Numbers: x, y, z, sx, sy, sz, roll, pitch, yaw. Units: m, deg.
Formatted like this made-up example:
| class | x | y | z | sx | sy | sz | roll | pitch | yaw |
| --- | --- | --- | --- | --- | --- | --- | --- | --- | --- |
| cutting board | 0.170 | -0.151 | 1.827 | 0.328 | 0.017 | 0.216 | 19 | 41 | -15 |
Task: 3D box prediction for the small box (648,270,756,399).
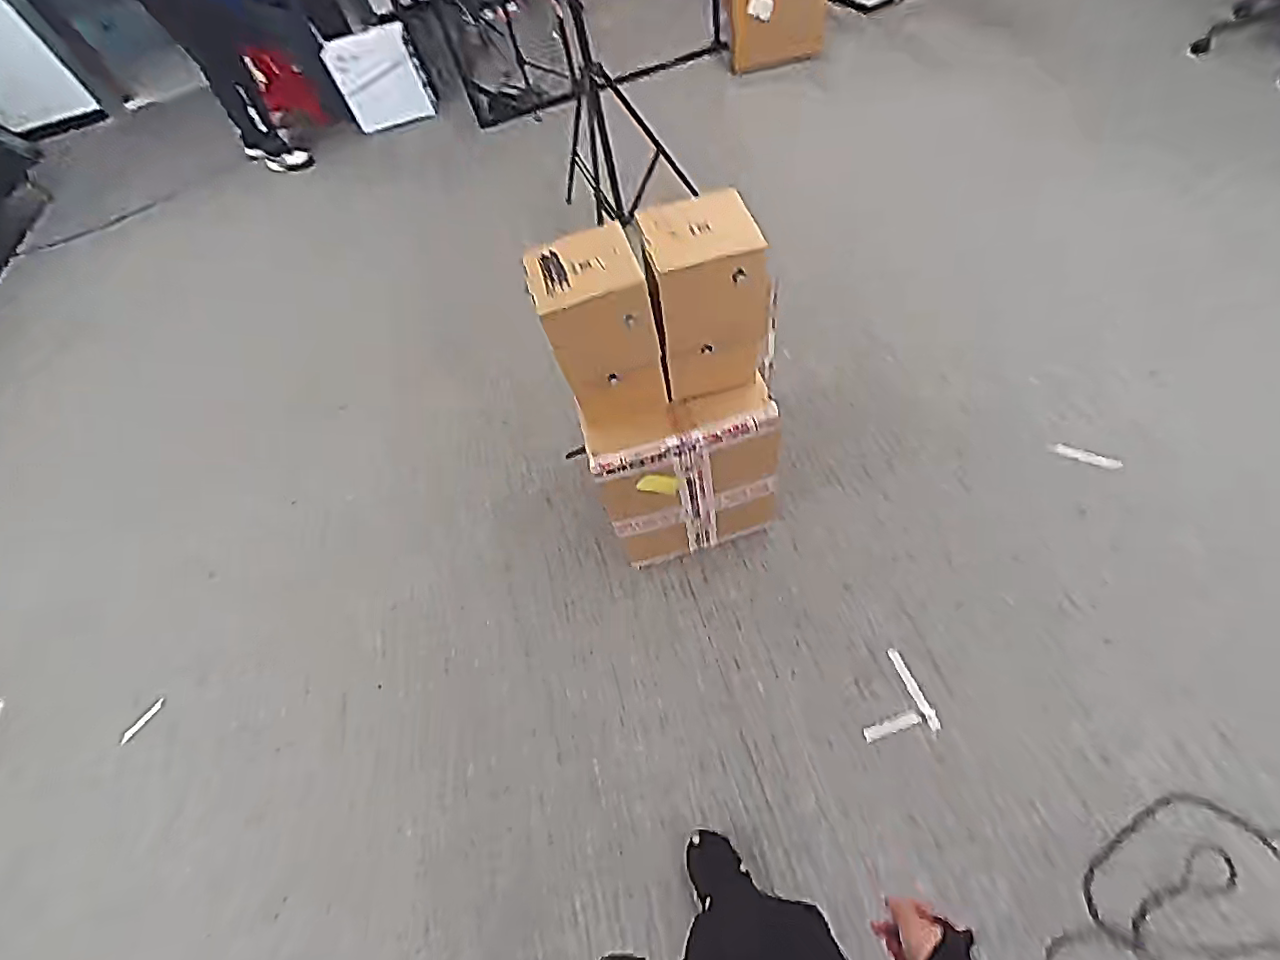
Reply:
| class | x | y | z | sx | sy | sz | roll | pitch | yaw |
| --- | --- | --- | --- | --- | --- | --- | --- | --- | --- |
| small box | 0.124 | -0.283 | 1.077 | 0.179 | 0.176 | 0.168 | -12 | 57 | 2 |
